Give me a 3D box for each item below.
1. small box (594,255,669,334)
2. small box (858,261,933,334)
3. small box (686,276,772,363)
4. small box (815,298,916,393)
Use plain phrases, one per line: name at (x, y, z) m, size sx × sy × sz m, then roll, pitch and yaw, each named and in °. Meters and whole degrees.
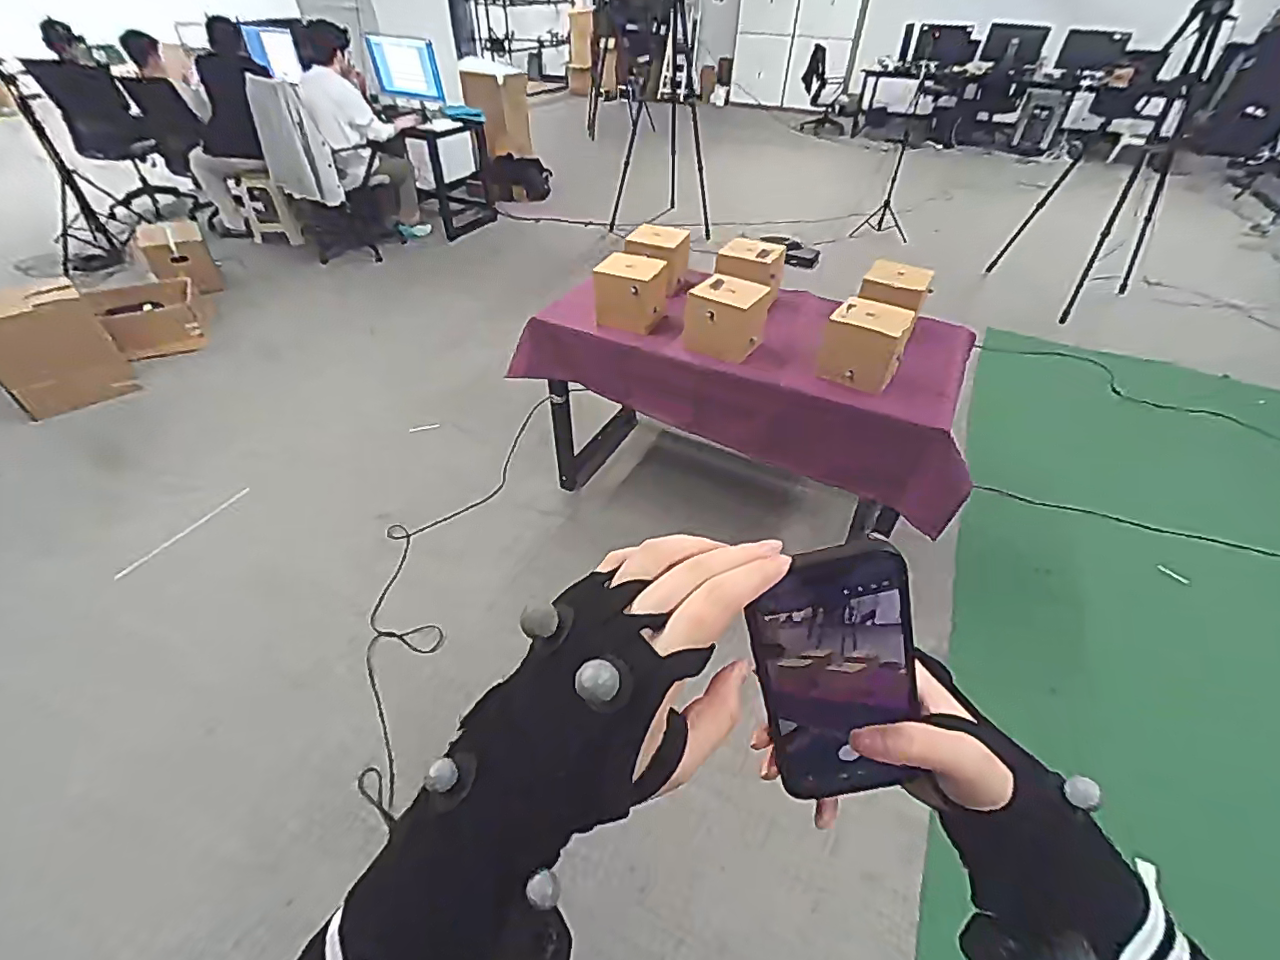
small box at (-0.026, -0.559, 1.632) m, size 0.179 × 0.176 × 0.168 m, roll 17°, pitch 44°, yaw 14°
small box at (0.747, -0.529, 1.617) m, size 0.168 × 0.176 × 0.179 m, roll 23°, pitch 47°, yaw 22°
small box at (0.244, -0.449, 1.517) m, size 0.179 × 0.176 × 0.168 m, roll 25°, pitch 48°, yaw 23°
small box at (0.587, -0.349, 1.416) m, size 0.179 × 0.176 × 0.168 m, roll 26°, pitch 47°, yaw 24°
